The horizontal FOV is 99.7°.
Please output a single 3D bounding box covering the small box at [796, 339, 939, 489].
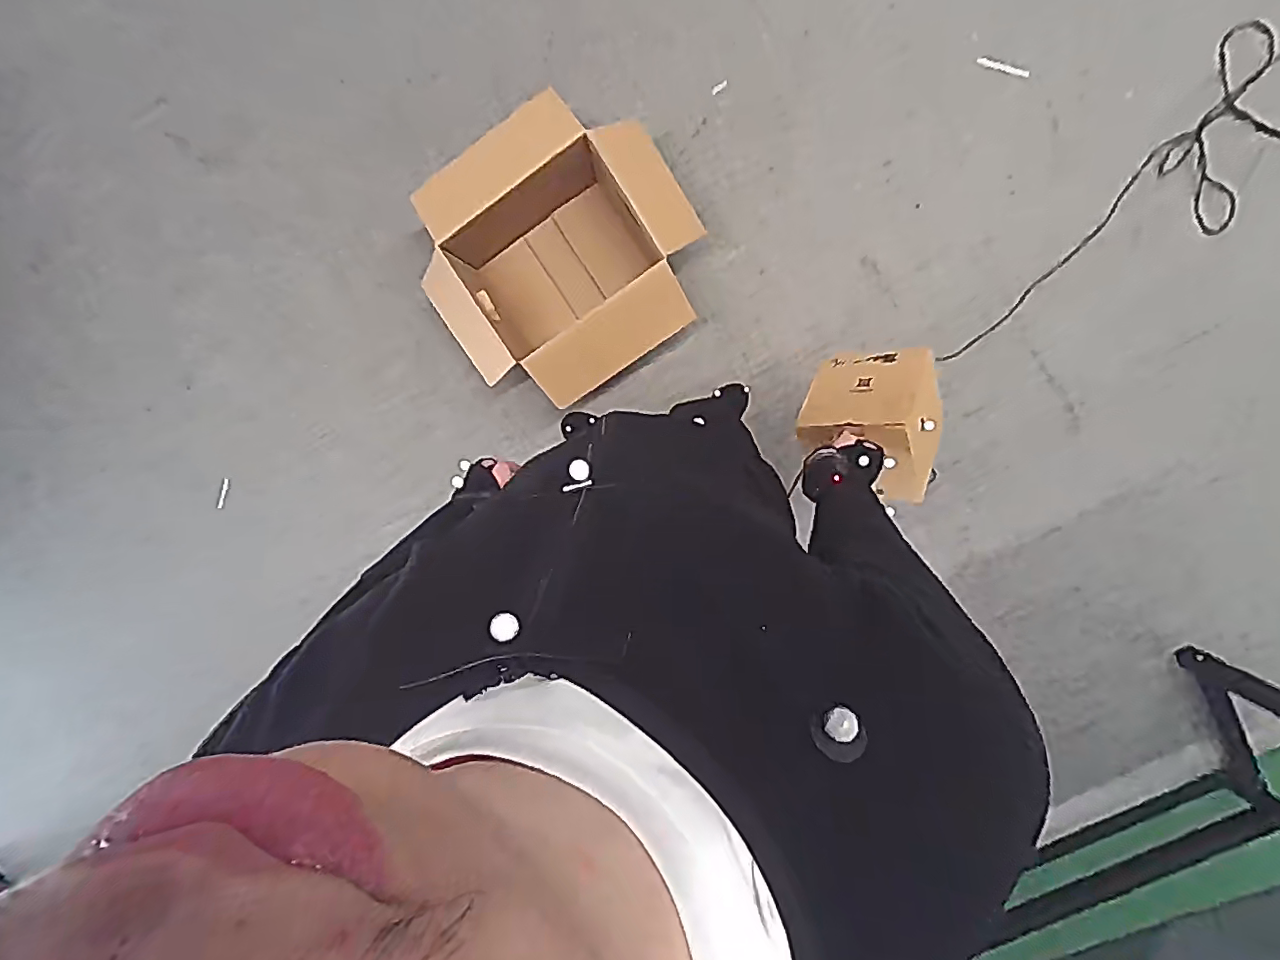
[{"bbox_3d":[0.378,-0.104,0.881,0.179,0.168,0.176,-59,136,-28],"label":"small box"}]
